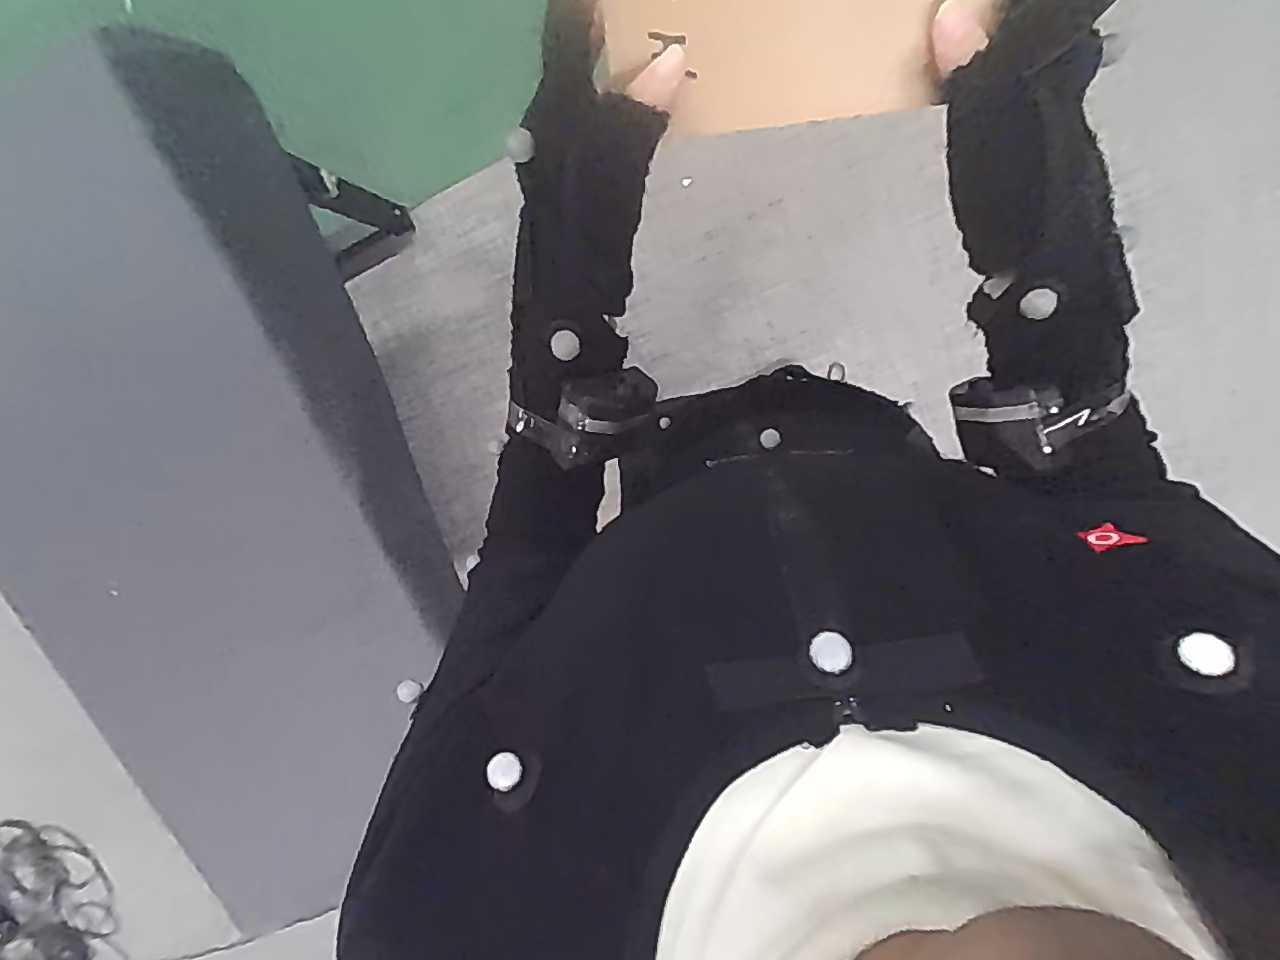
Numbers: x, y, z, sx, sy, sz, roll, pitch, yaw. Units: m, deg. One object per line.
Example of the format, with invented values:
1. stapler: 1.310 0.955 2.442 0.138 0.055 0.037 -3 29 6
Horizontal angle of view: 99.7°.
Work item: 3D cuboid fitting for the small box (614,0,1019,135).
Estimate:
1. small box: 0.072 -0.289 0.267 0.179 0.176 0.168 -6 132 2
